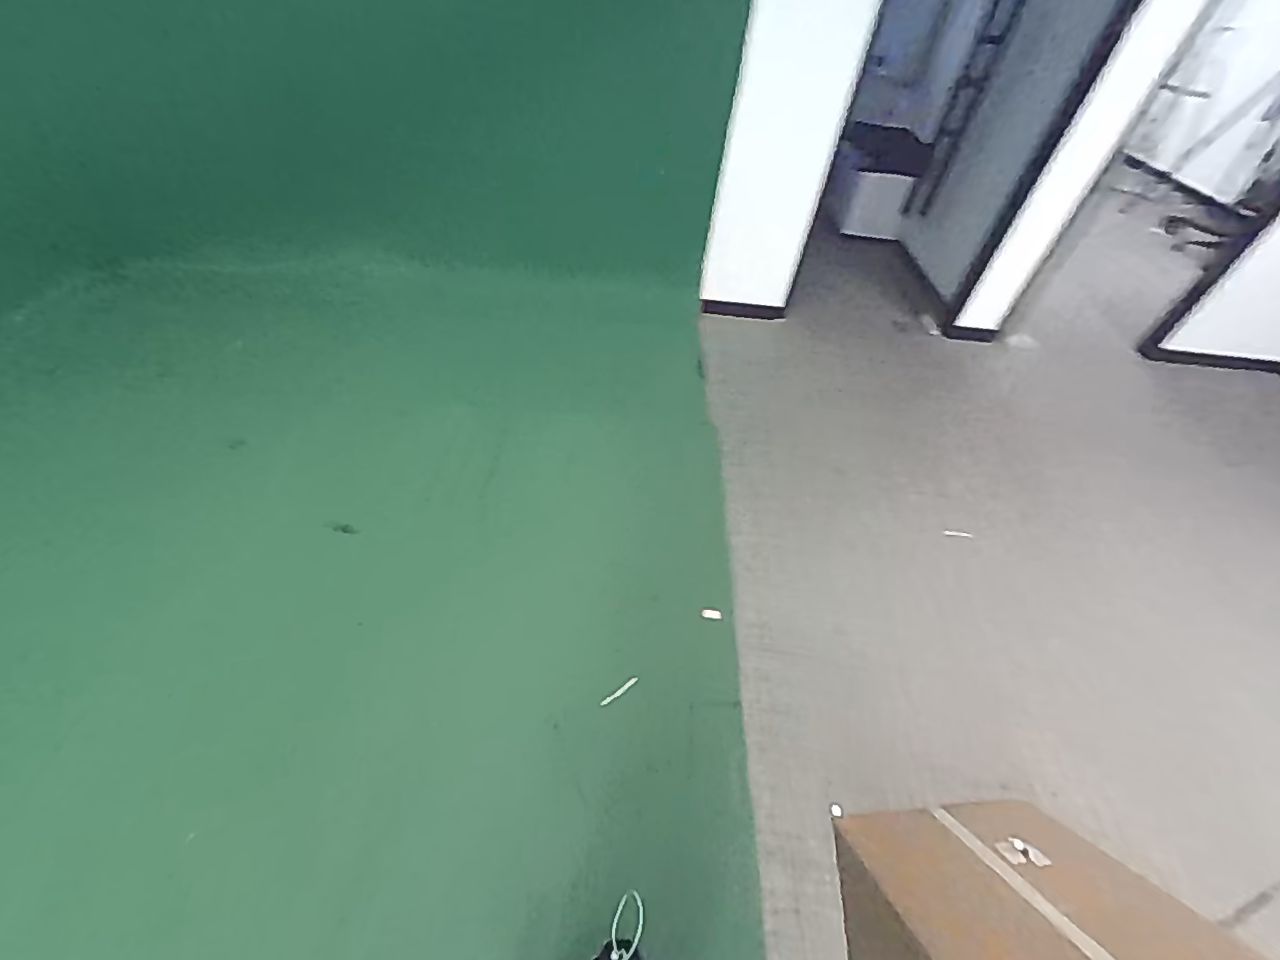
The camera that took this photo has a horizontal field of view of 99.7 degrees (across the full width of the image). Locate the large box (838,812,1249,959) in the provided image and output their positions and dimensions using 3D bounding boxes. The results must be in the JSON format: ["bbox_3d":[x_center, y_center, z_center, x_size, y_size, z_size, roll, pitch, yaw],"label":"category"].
[{"bbox_3d":[0.470,0.652,0.622,0.320,0.408,0.320,-3,83,-1],"label":"large box"}]
